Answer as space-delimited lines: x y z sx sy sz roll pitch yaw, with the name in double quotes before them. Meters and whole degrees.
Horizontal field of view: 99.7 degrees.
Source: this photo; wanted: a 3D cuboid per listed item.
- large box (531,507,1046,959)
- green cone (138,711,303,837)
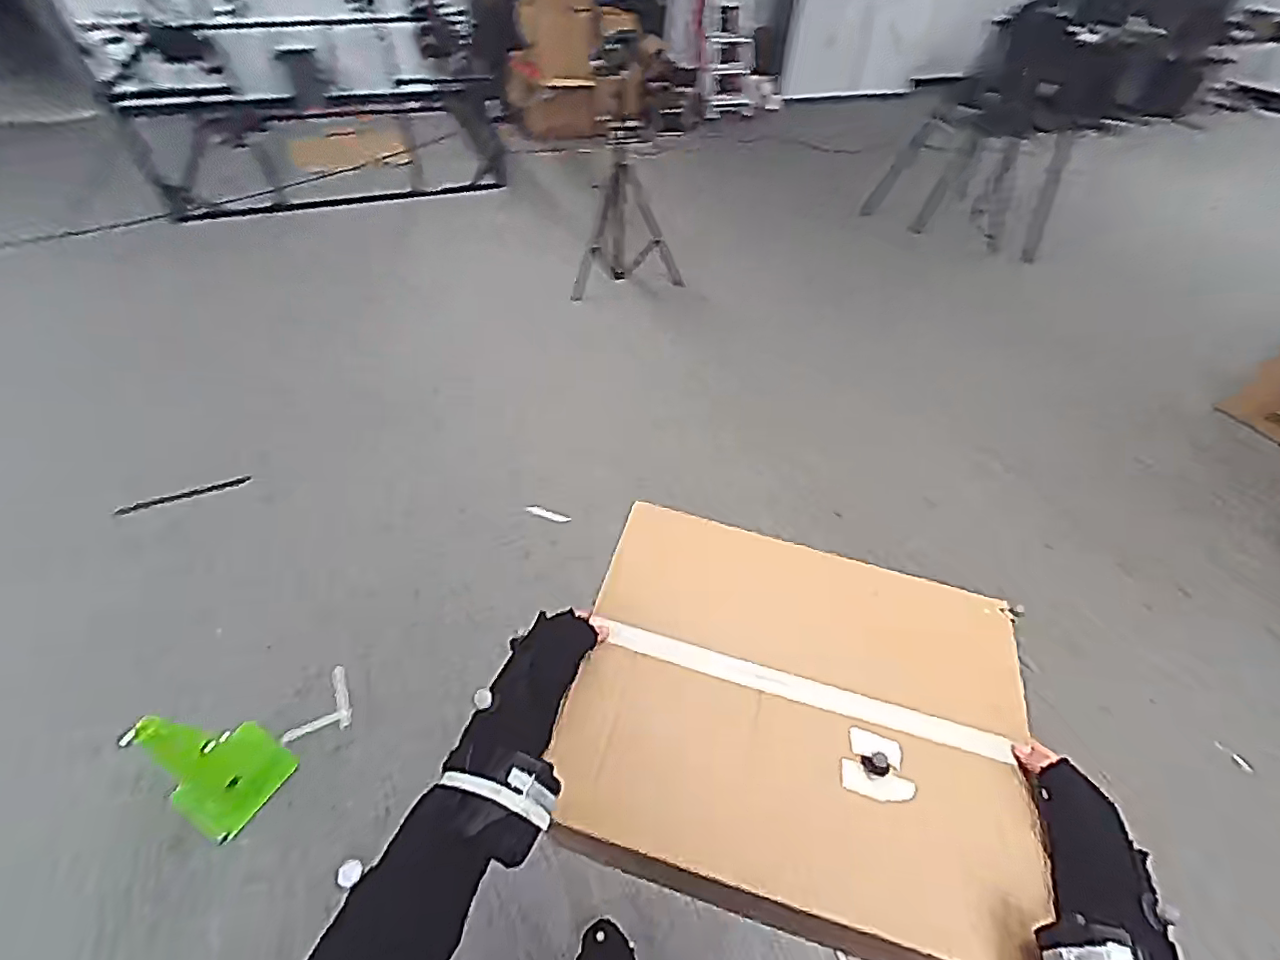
"large box" 0.126 0.280 0.615 0.408 0.320 0.320 14 53 6
"green cone" -0.938 0.585 1.164 0.202 0.368 0.200 22 49 18
